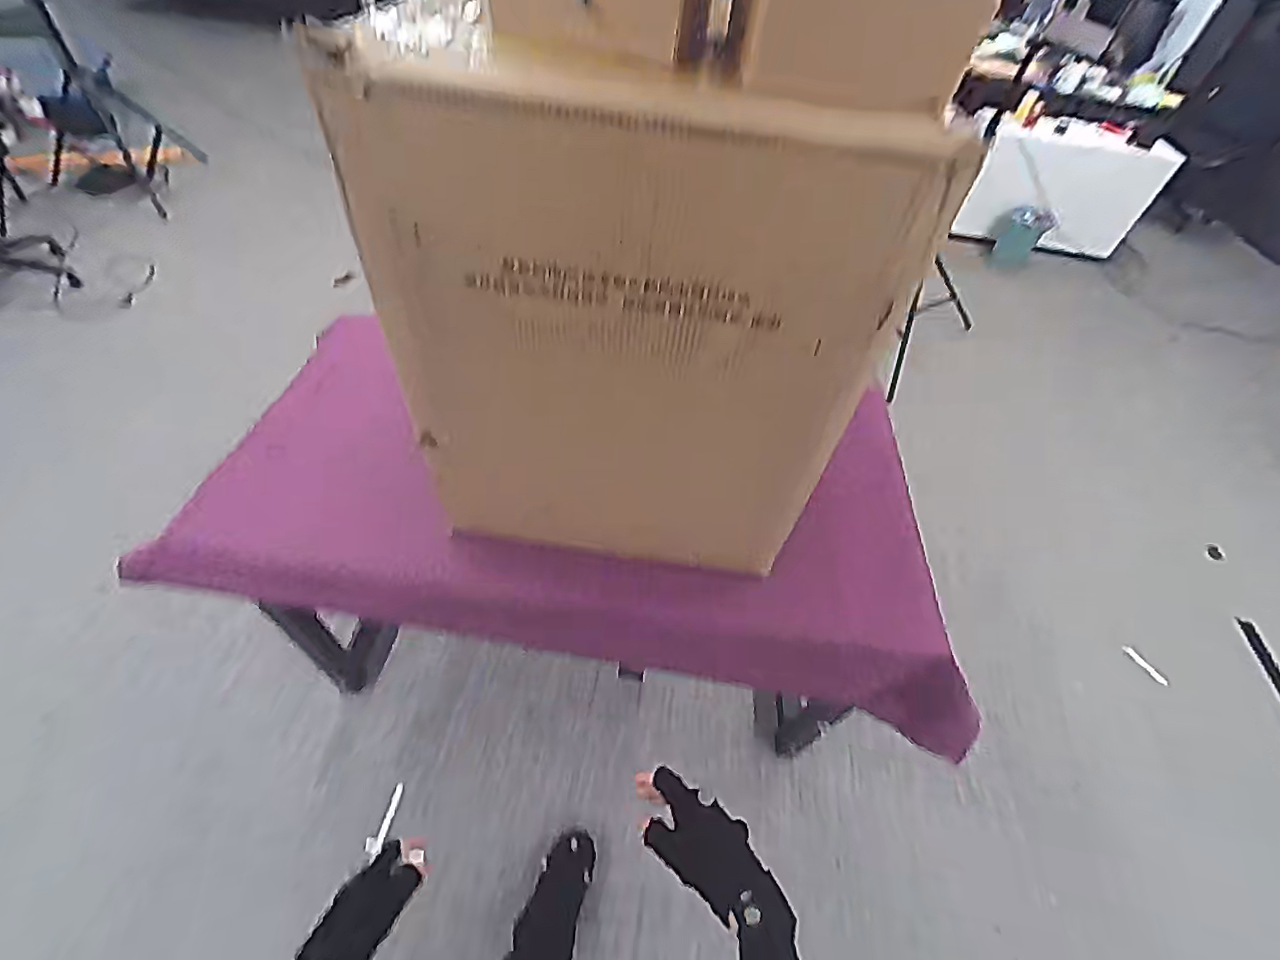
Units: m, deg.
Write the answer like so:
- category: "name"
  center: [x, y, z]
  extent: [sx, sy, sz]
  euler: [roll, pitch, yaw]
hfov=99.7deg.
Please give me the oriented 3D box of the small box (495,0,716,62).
- category: "small box"
  center: [-0.019, -0.489, 0.467]
  extent: [0.179, 0.176, 0.168]
  euler: [17, 50, 6]
